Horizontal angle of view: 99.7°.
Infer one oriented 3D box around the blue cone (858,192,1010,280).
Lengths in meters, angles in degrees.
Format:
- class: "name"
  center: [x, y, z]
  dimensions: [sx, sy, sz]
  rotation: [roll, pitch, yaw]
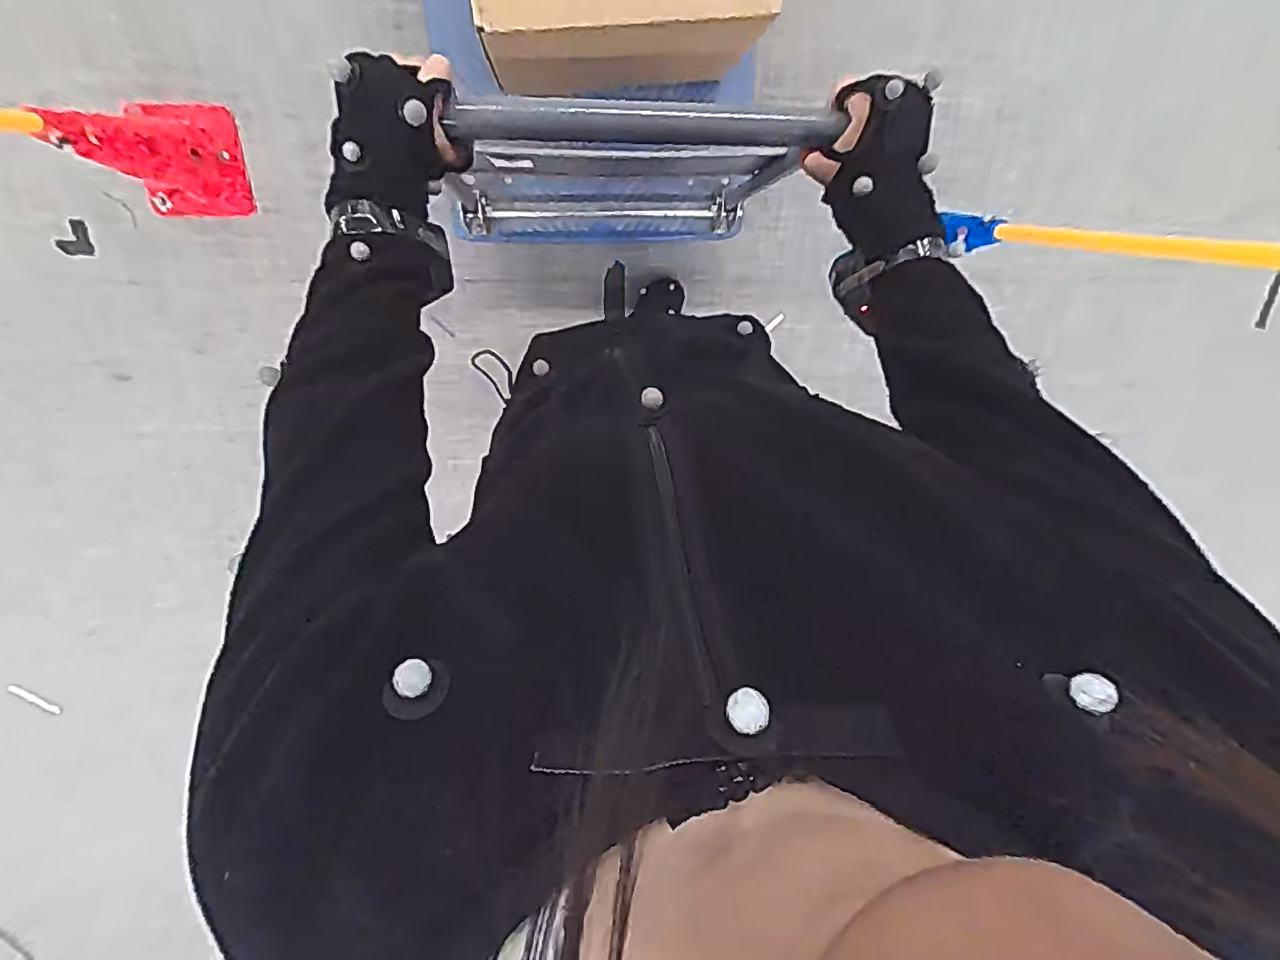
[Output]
- class: "blue cone"
  center: [0.646, -0.538, 1.173]
  dimensions: [0.193, 0.380, 0.192]
  rotation: [-6, 111, -6]
